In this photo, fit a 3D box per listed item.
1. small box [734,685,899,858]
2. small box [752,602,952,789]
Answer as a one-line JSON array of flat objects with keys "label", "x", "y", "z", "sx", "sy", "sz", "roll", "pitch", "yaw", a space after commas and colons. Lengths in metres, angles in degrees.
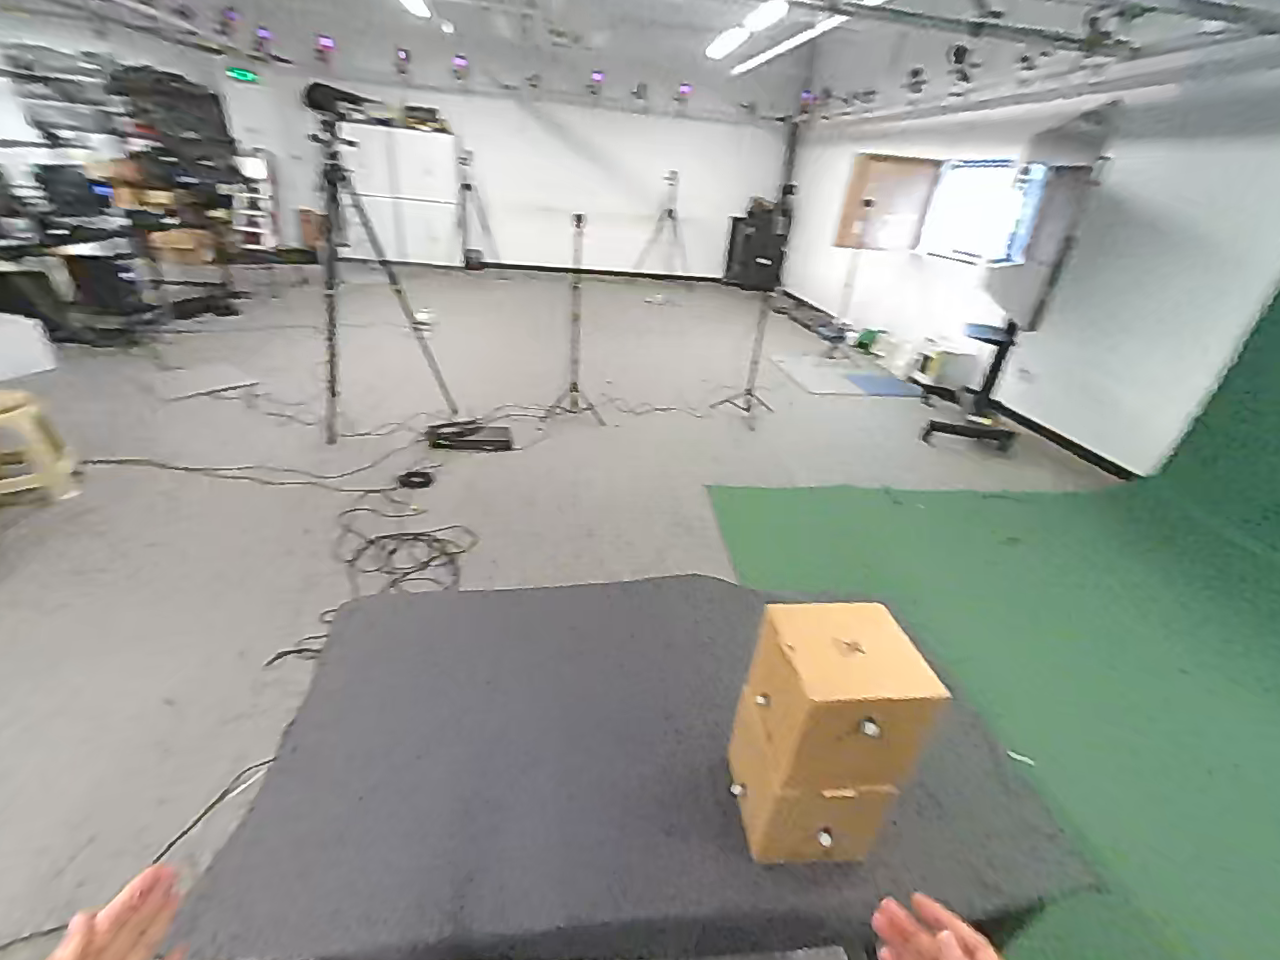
[{"label": "small box", "x": 0.245, "y": 0.427, "z": 0.796, "sx": 0.168, "sy": 0.176, "sz": 0.179, "roll": 1, "pitch": 28, "yaw": -5}, {"label": "small box", "x": 0.265, "y": 0.283, "z": 0.722, "sx": 0.179, "sy": 0.176, "sz": 0.168, "roll": 0, "pitch": 28, "yaw": -7}]
